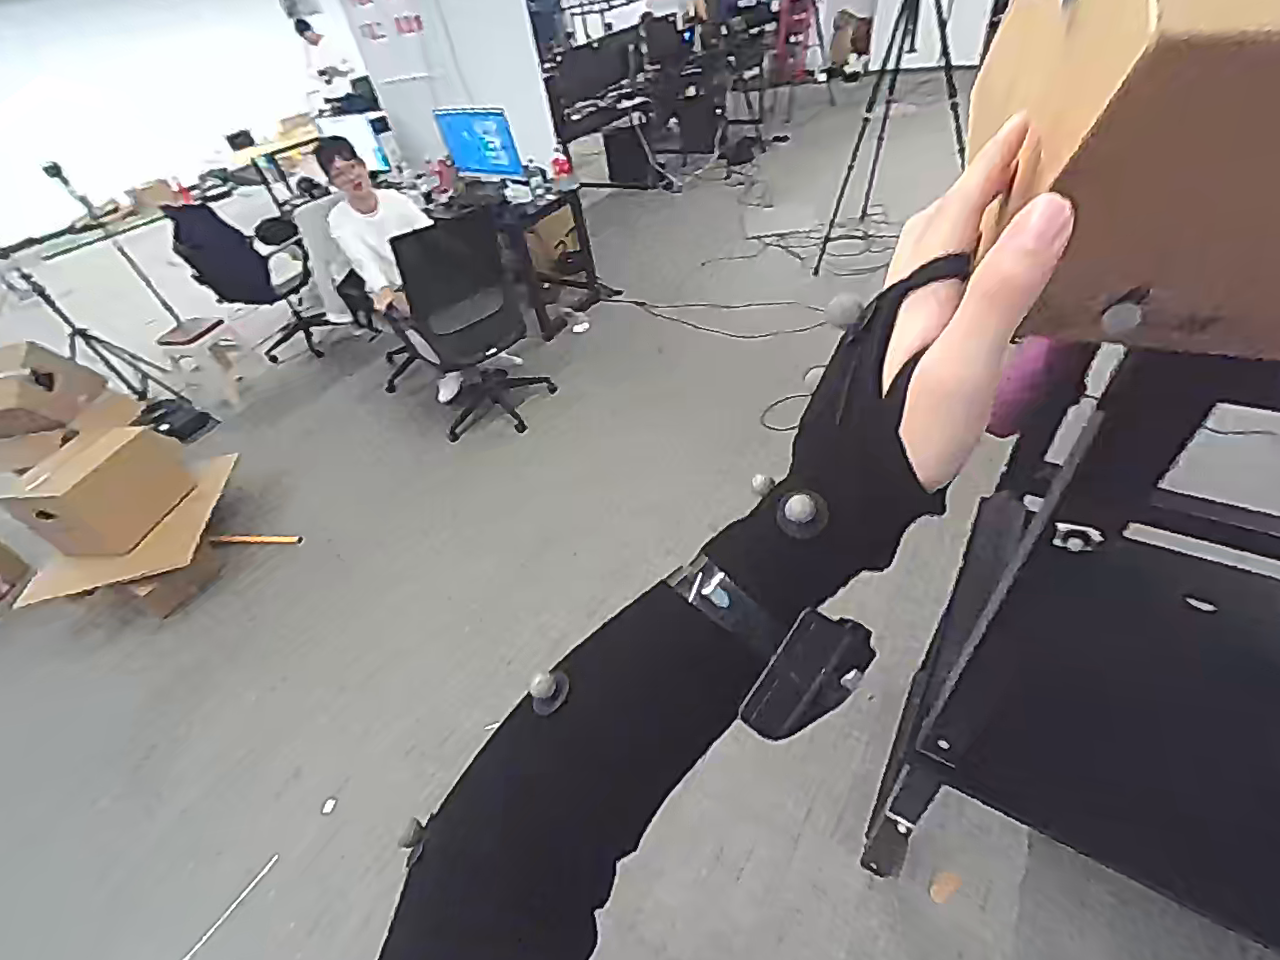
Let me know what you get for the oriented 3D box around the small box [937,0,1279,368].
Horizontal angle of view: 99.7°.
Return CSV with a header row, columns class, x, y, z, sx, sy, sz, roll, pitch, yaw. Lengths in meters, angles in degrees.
class,x,y,z,sx,sy,sz,roll,pitch,yaw
small box,0.251,-0.173,0.239,0.168,0.176,0.179,9,77,13
